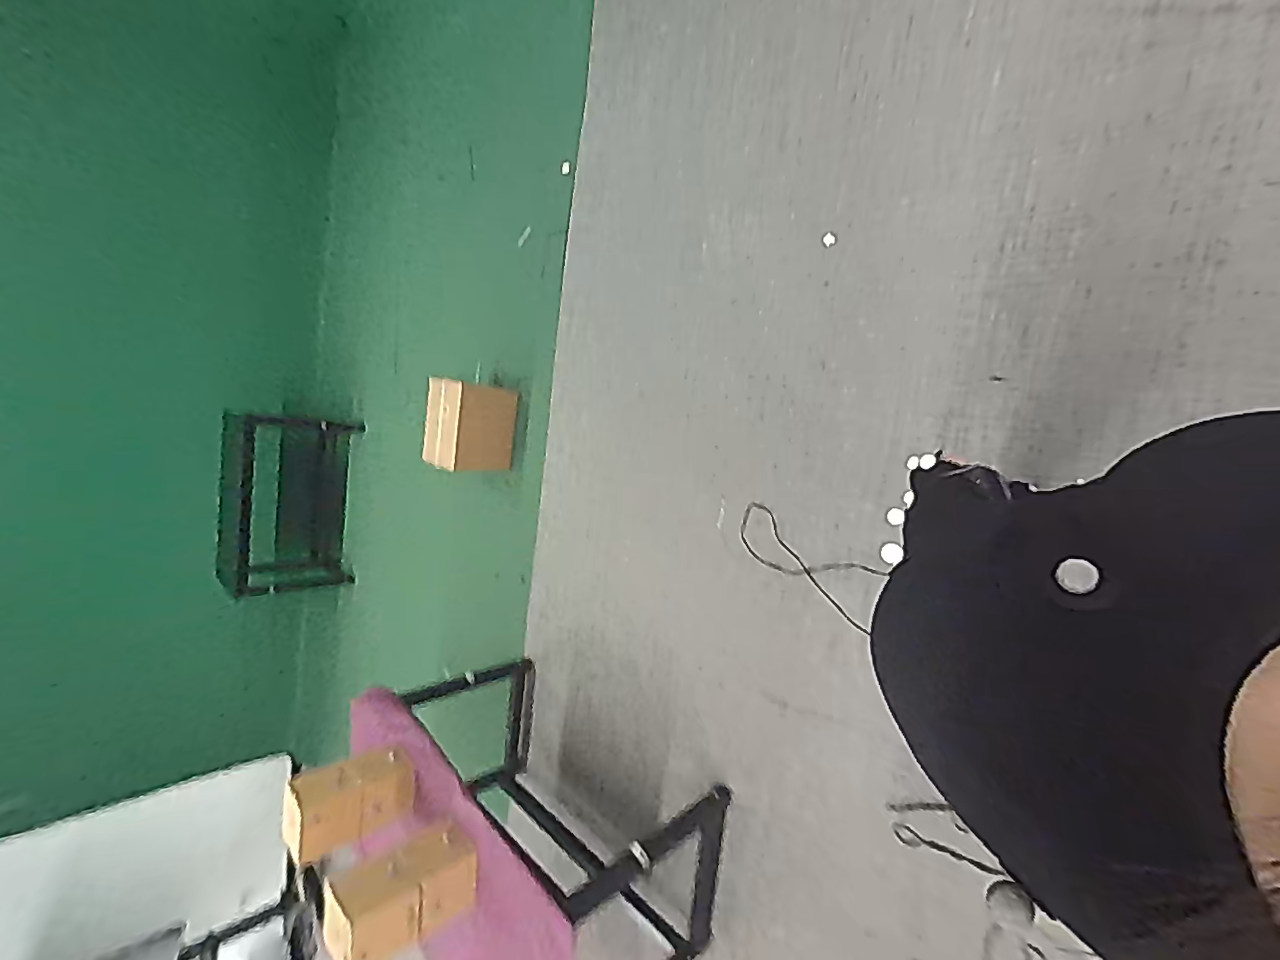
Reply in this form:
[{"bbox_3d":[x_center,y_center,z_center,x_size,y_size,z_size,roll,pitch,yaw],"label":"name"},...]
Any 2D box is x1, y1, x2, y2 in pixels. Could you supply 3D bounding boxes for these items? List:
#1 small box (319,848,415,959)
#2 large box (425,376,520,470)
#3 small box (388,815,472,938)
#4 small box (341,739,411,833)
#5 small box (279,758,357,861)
[{"bbox_3d":[-0.691,1.077,1.366,0.179,0.176,0.168,11,99,43],"label":"small box"},{"bbox_3d":[-0.818,-0.275,2.636,0.320,0.320,0.408,15,99,42],"label":"large box"},{"bbox_3d":[-0.580,1.078,1.487,0.168,0.176,0.179,12,98,42],"label":"small box"},{"bbox_3d":[-0.859,0.981,1.750,0.168,0.176,0.179,14,98,42],"label":"small box"},{"bbox_3d":[-0.971,0.984,1.633,0.168,0.176,0.179,13,98,42],"label":"small box"}]
